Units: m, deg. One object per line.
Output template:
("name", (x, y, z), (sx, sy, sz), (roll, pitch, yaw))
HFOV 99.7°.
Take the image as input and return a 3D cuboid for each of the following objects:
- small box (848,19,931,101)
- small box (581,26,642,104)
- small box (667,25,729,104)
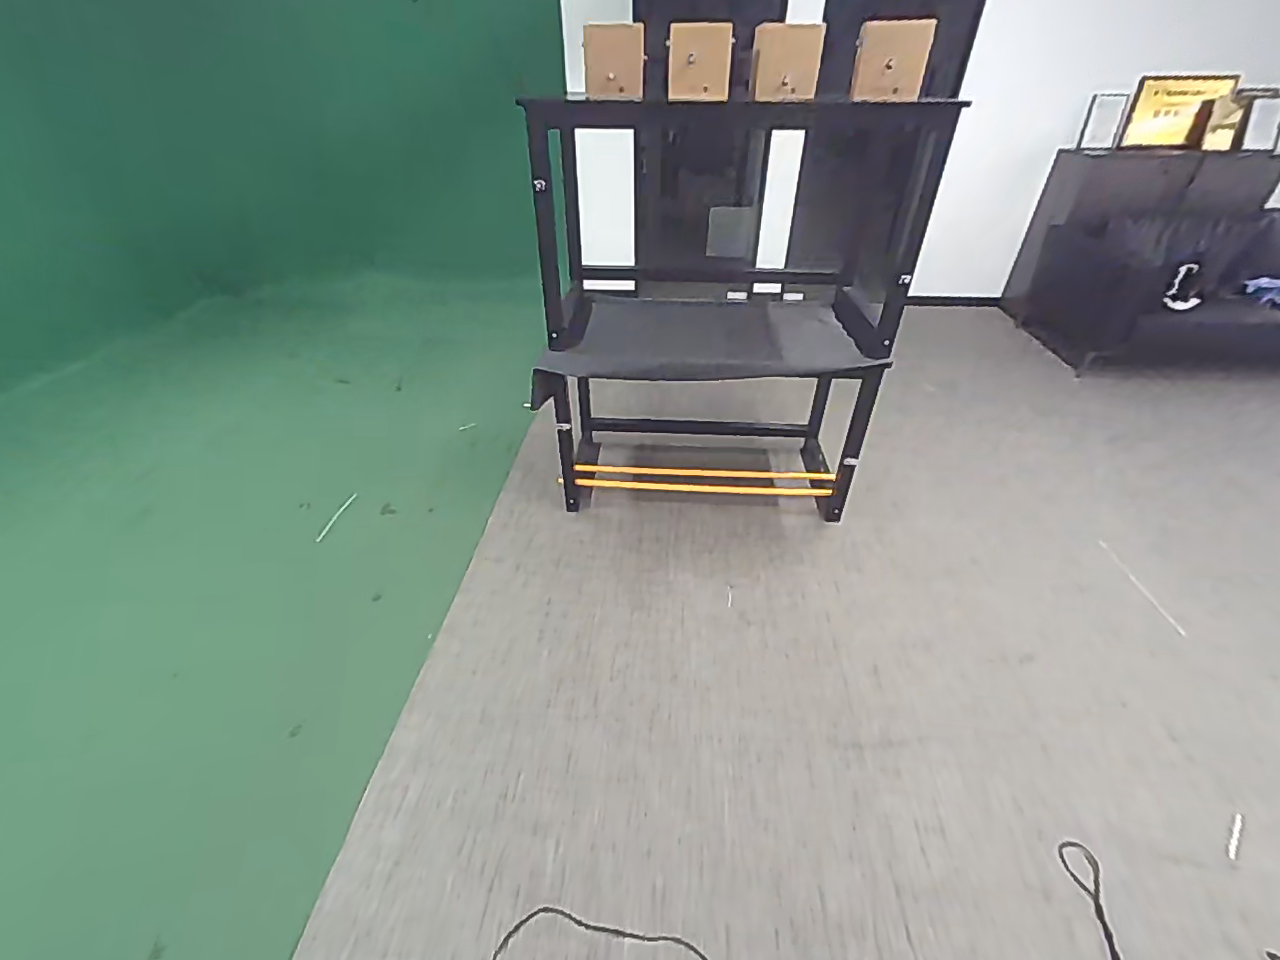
("small box", (0.676, -1.148, 1.485), (0.168, 0.176, 0.179), (8, 37, 11))
("small box", (-0.079, -1.204, 1.572), (0.168, 0.176, 0.179), (0, 38, 0))
("small box", (0.164, -1.182, 1.543), (0.168, 0.176, 0.179), (3, 37, 5))
